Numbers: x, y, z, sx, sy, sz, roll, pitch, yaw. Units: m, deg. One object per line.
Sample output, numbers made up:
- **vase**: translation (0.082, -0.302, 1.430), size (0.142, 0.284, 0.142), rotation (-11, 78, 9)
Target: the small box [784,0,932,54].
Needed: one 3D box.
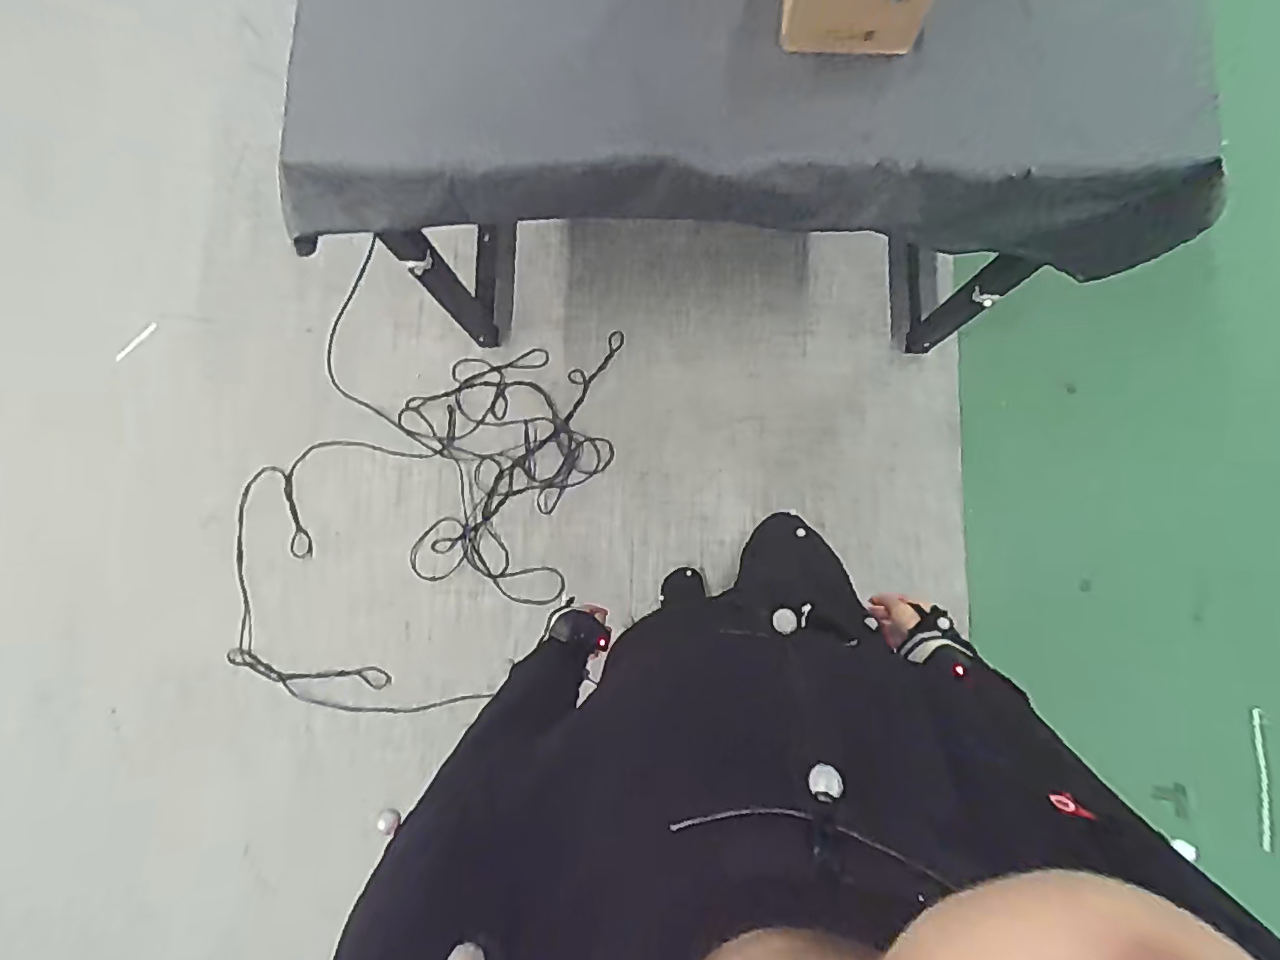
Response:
- **small box**: translation (0.272, -0.650, 0.638), size (0.168, 0.176, 0.179), rotation (4, 82, 2)
